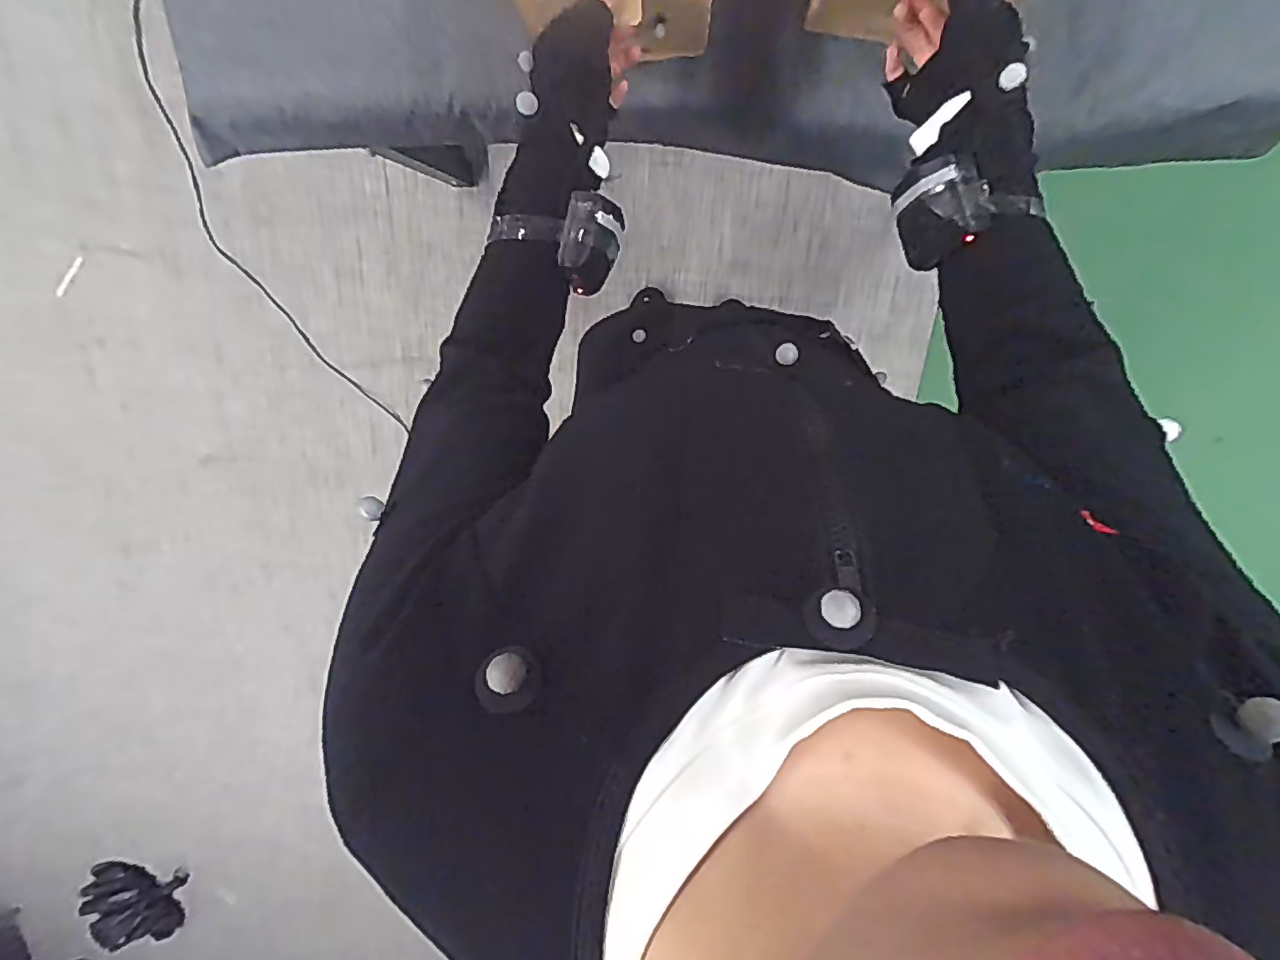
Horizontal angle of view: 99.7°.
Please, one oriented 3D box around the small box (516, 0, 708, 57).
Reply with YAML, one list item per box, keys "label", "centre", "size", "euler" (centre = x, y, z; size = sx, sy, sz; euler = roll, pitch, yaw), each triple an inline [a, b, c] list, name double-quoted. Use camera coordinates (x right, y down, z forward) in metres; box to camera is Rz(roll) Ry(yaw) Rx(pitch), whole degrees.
- label: "small box"
  centre: [-0.024, -0.497, 0.465]
  size: [0.168, 0.176, 0.179]
  euler: [-3, 108, 3]
